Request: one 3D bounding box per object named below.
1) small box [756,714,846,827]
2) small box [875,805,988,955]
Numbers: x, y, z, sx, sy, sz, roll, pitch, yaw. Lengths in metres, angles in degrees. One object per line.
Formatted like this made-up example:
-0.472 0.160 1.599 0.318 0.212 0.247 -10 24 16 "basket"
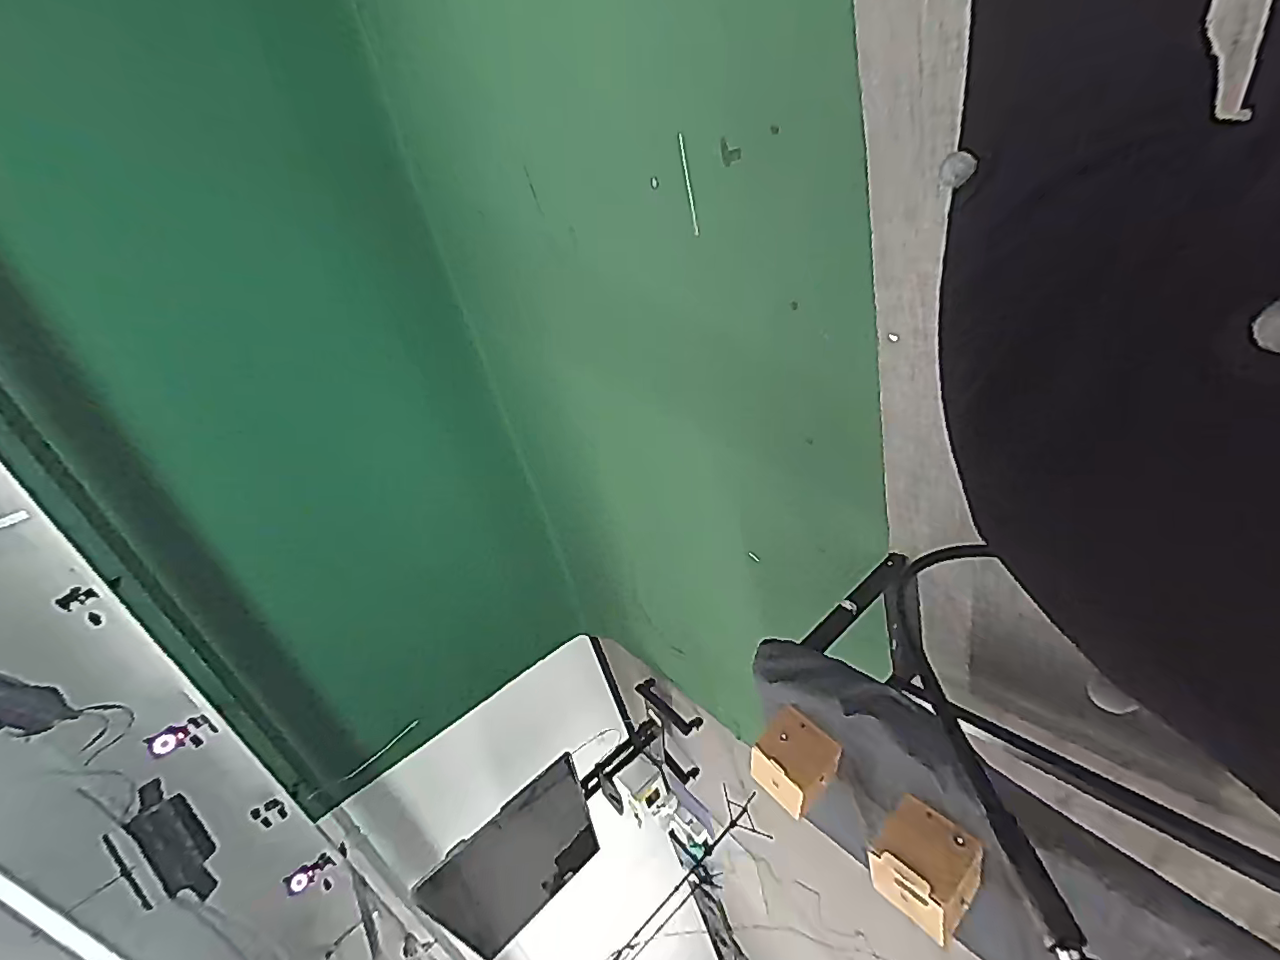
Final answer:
0.431 0.773 1.452 0.168 0.176 0.179 32 144 42 "small box"
0.645 0.873 1.197 0.168 0.176 0.179 20 134 50 "small box"
